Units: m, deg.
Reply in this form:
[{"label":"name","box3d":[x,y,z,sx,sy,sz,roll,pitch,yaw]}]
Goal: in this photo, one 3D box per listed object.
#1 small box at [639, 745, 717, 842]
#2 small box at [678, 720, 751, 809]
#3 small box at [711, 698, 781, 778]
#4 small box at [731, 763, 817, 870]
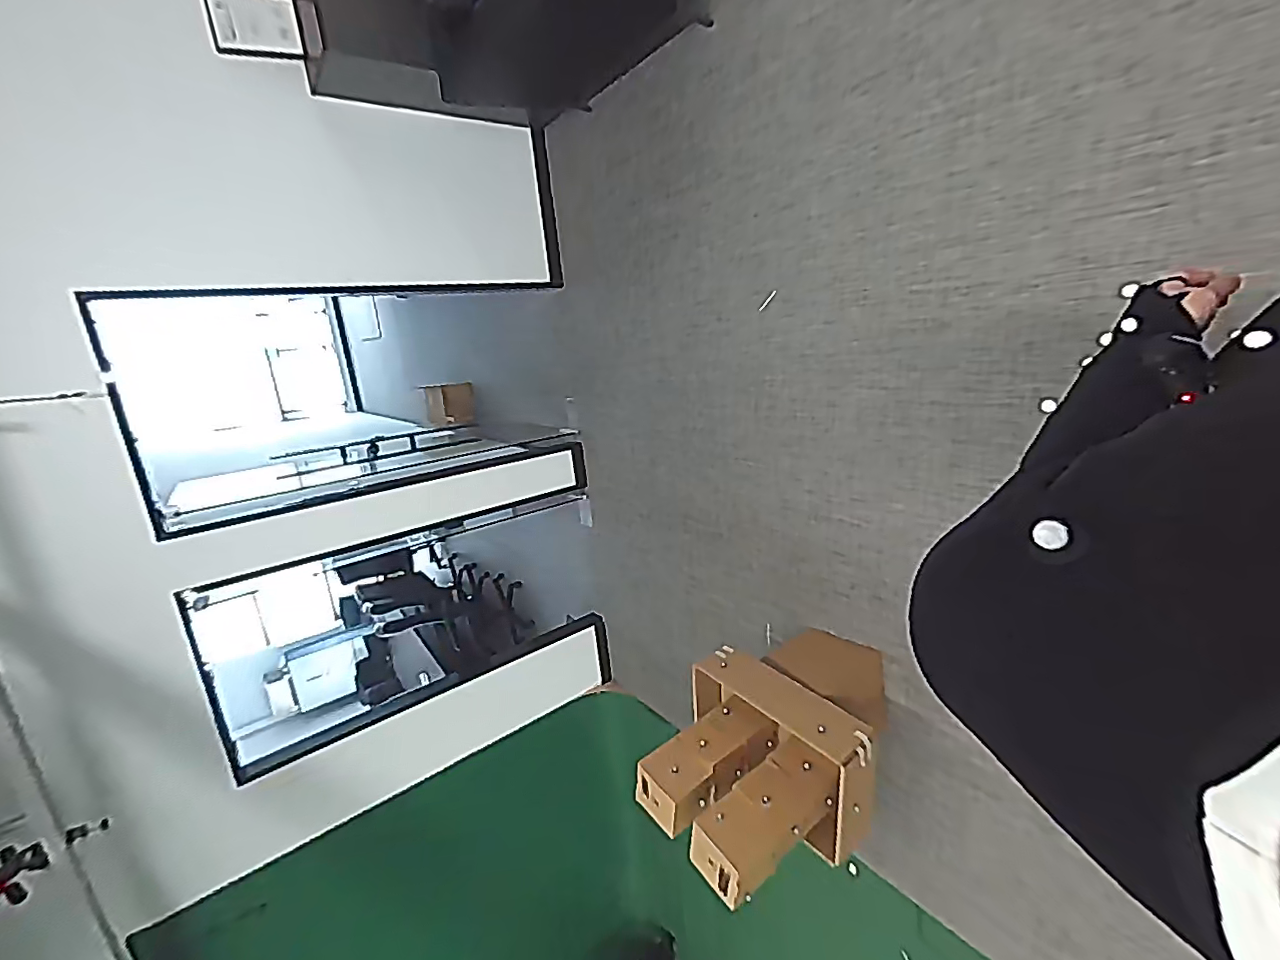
[{"label":"small box","box3d":[0.117,0.973,1.701,0.179,0.176,0.168,25,122,44]},{"label":"small box","box3d":[0.246,0.932,1.794,0.179,0.176,0.168,14,113,48]},{"label":"small box","box3d":[0.369,0.895,1.892,0.179,0.176,0.168,15,116,49]},{"label":"small box","box3d":[0.397,0.989,1.606,0.179,0.176,0.168,31,126,45]}]
